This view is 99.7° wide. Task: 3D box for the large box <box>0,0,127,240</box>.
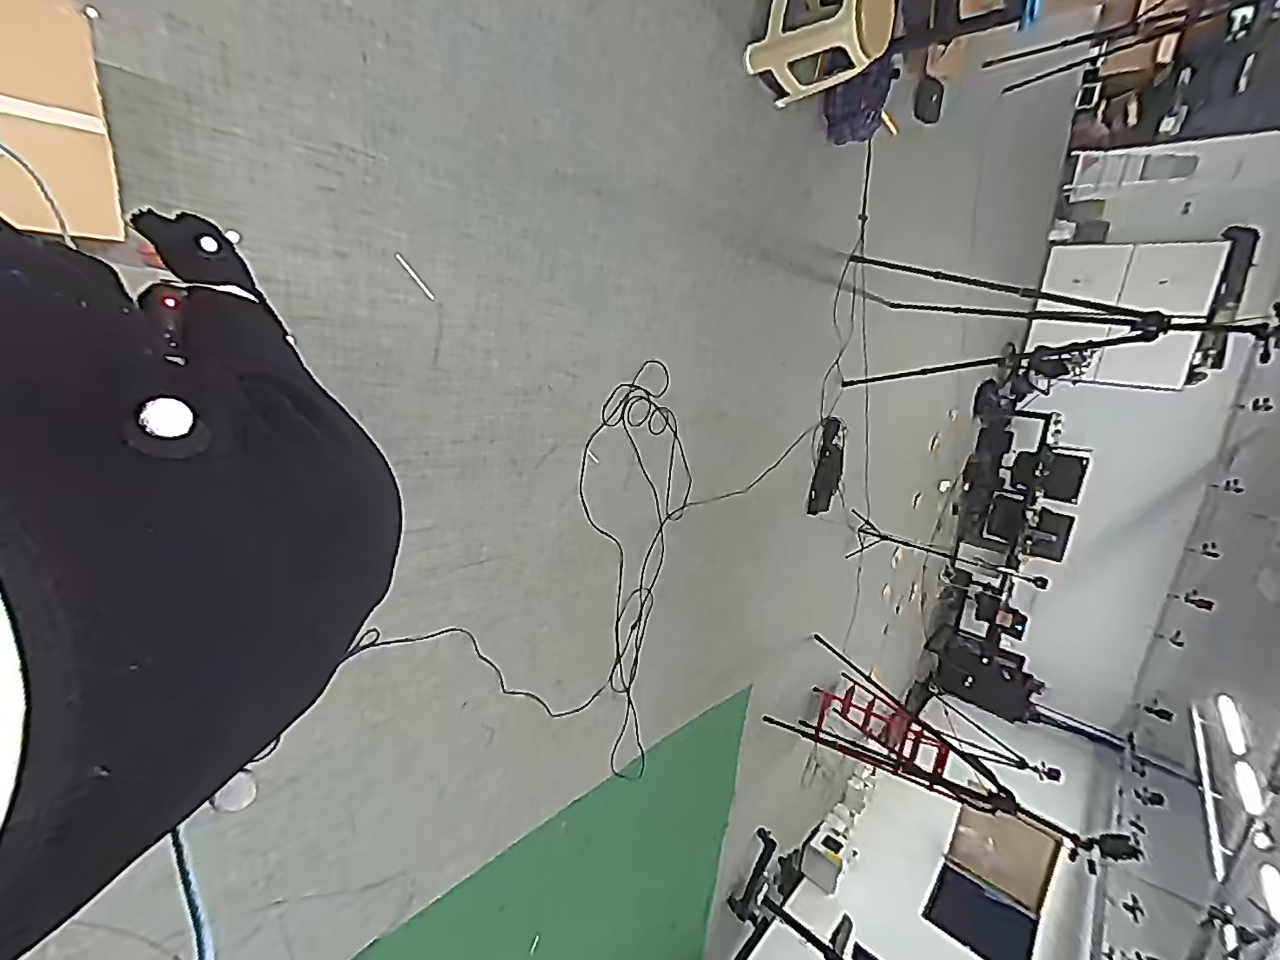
[{"bbox_3d":[-1.032,-0.535,0.753,0.408,0.320,0.320,-13,113,-45],"label":"large box"}]
